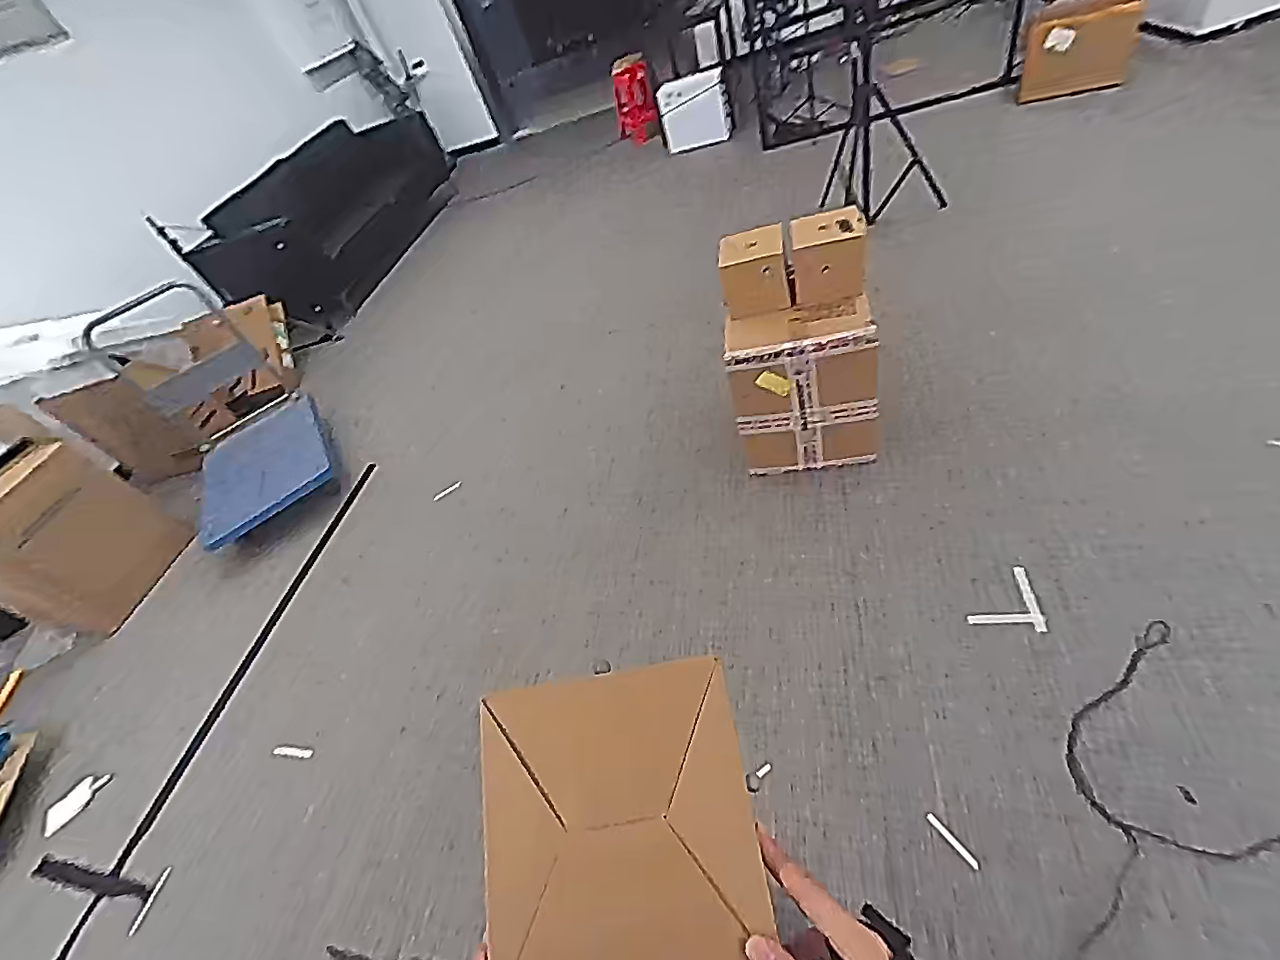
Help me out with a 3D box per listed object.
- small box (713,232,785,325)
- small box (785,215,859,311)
[{"bbox_3d":[0.318,-0.569,1.544,0.179,0.176,0.168,-7,47,20],"label":"small box"},{"bbox_3d":[0.499,-0.592,1.489,0.179,0.176,0.168,-6,48,17],"label":"small box"}]
